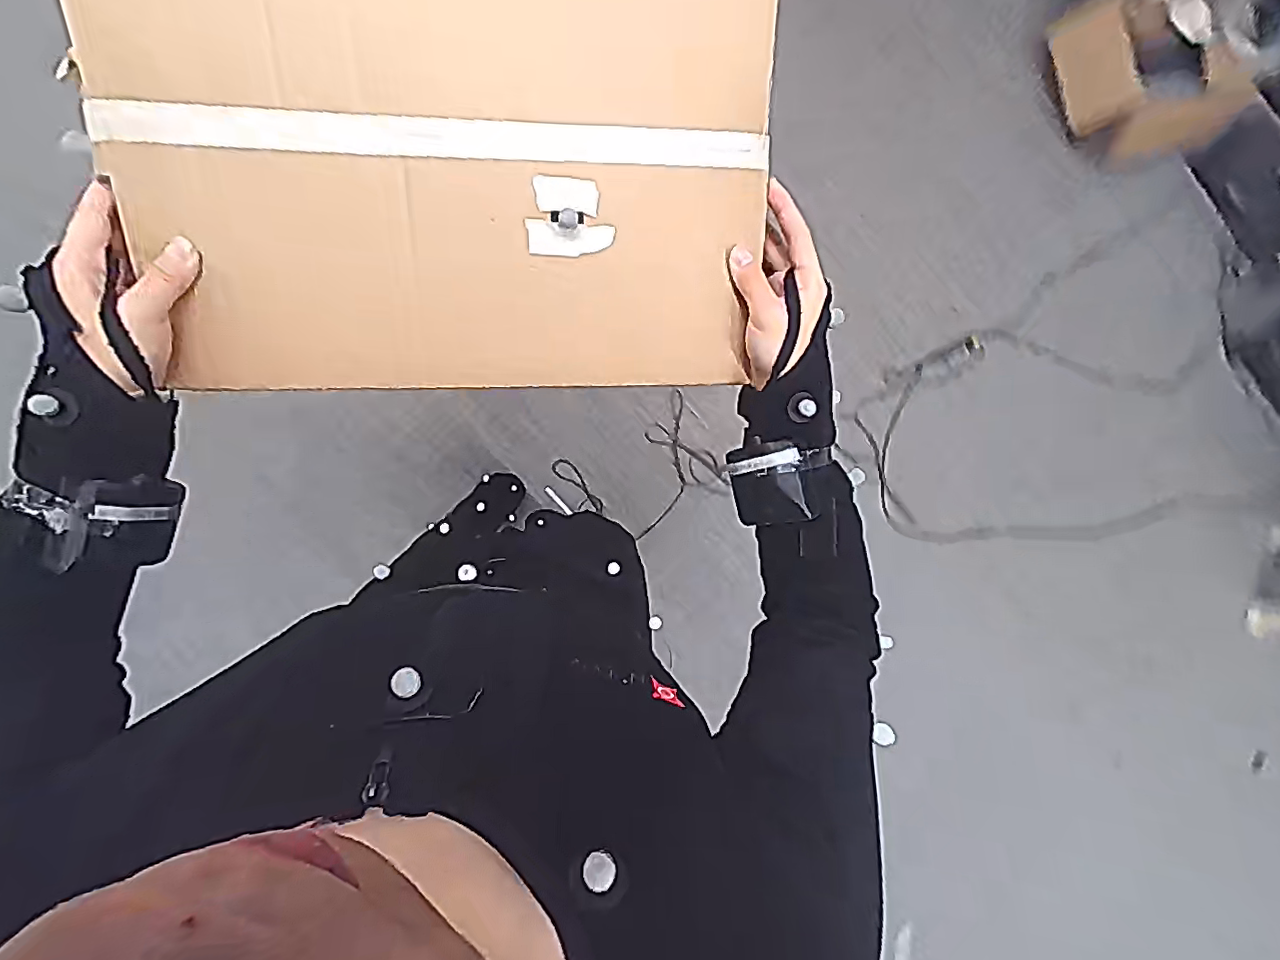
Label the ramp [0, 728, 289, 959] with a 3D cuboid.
[{"bbox_3d":[-1.333,1.060,1.114,0.991,0.206,0.509,-44,96,-7],"label":"ramp"}]
